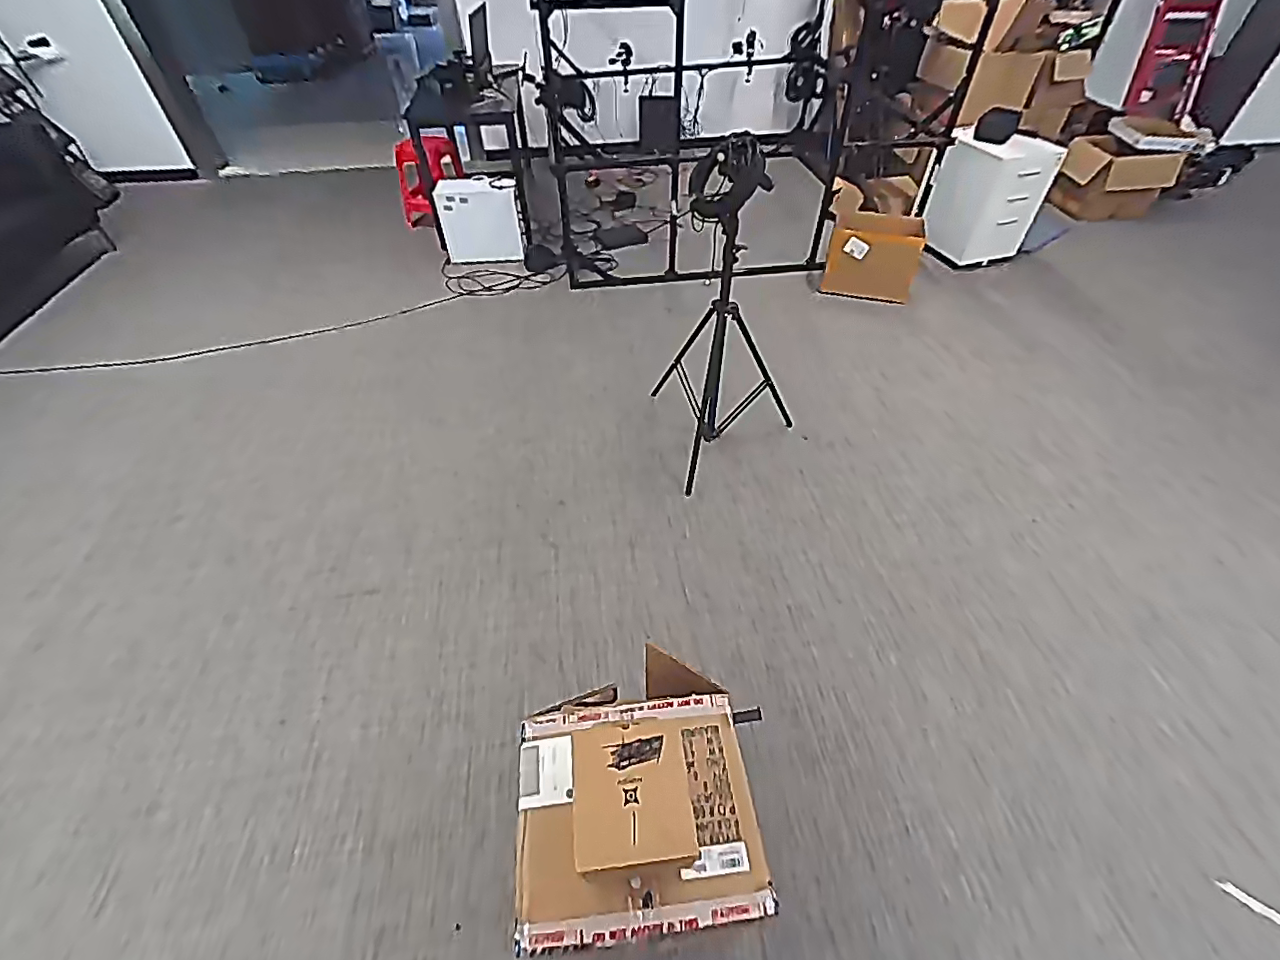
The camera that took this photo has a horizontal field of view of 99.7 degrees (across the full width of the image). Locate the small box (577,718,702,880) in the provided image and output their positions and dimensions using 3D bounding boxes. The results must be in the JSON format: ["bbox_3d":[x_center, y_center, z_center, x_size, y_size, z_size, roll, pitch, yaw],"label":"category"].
[{"bbox_3d":[-0.007,0.486,0.821,0.168,0.176,0.179,-5,50,-3],"label":"small box"}]
